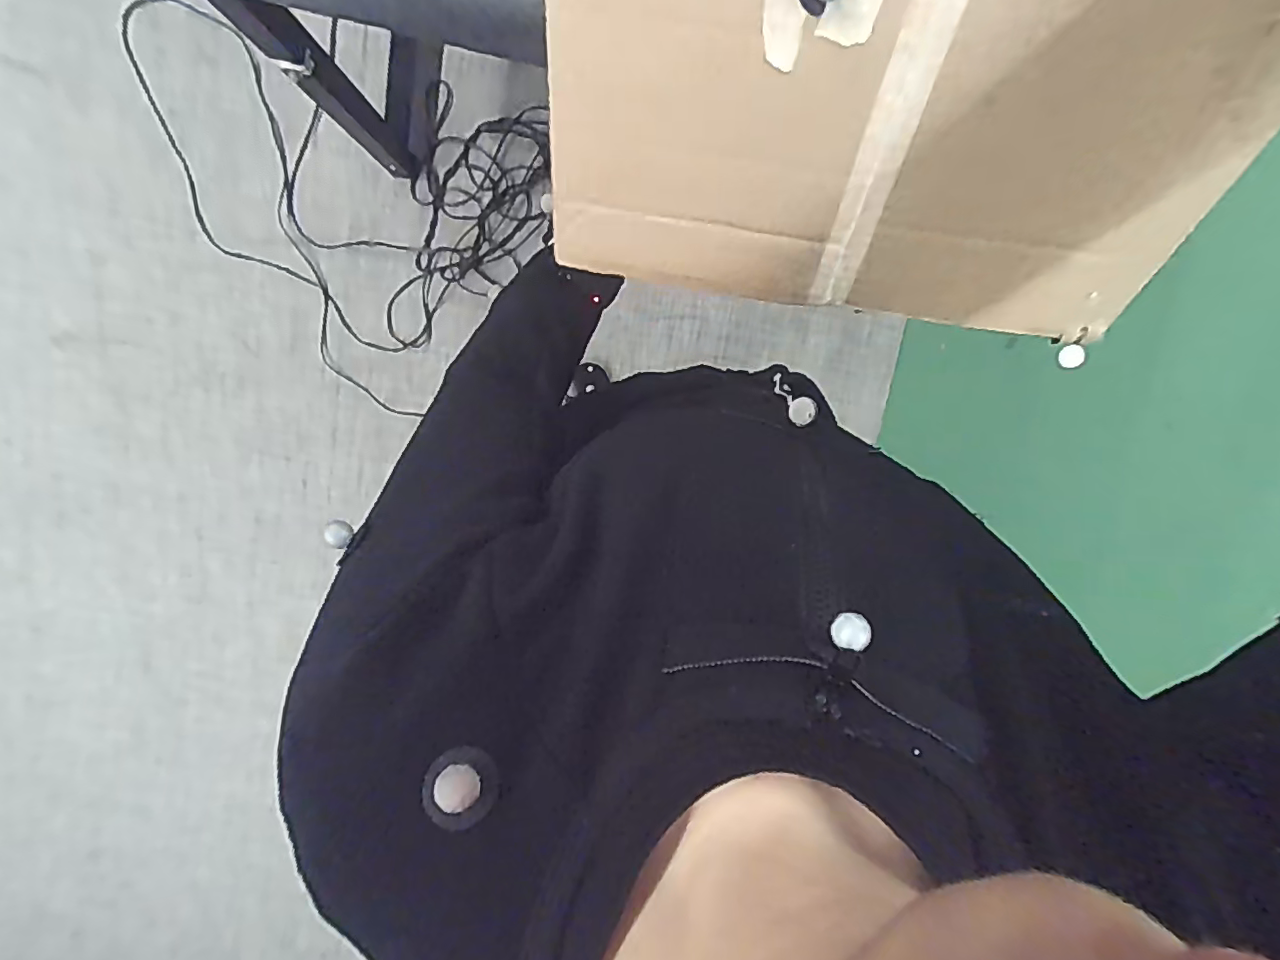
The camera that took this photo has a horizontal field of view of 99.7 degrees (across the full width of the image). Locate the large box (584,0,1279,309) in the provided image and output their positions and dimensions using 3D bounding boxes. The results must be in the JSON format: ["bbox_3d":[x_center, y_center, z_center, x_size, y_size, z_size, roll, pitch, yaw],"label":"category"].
[{"bbox_3d":[0.150,-0.360,0.269,0.320,0.320,0.408,9,140,2],"label":"large box"}]
